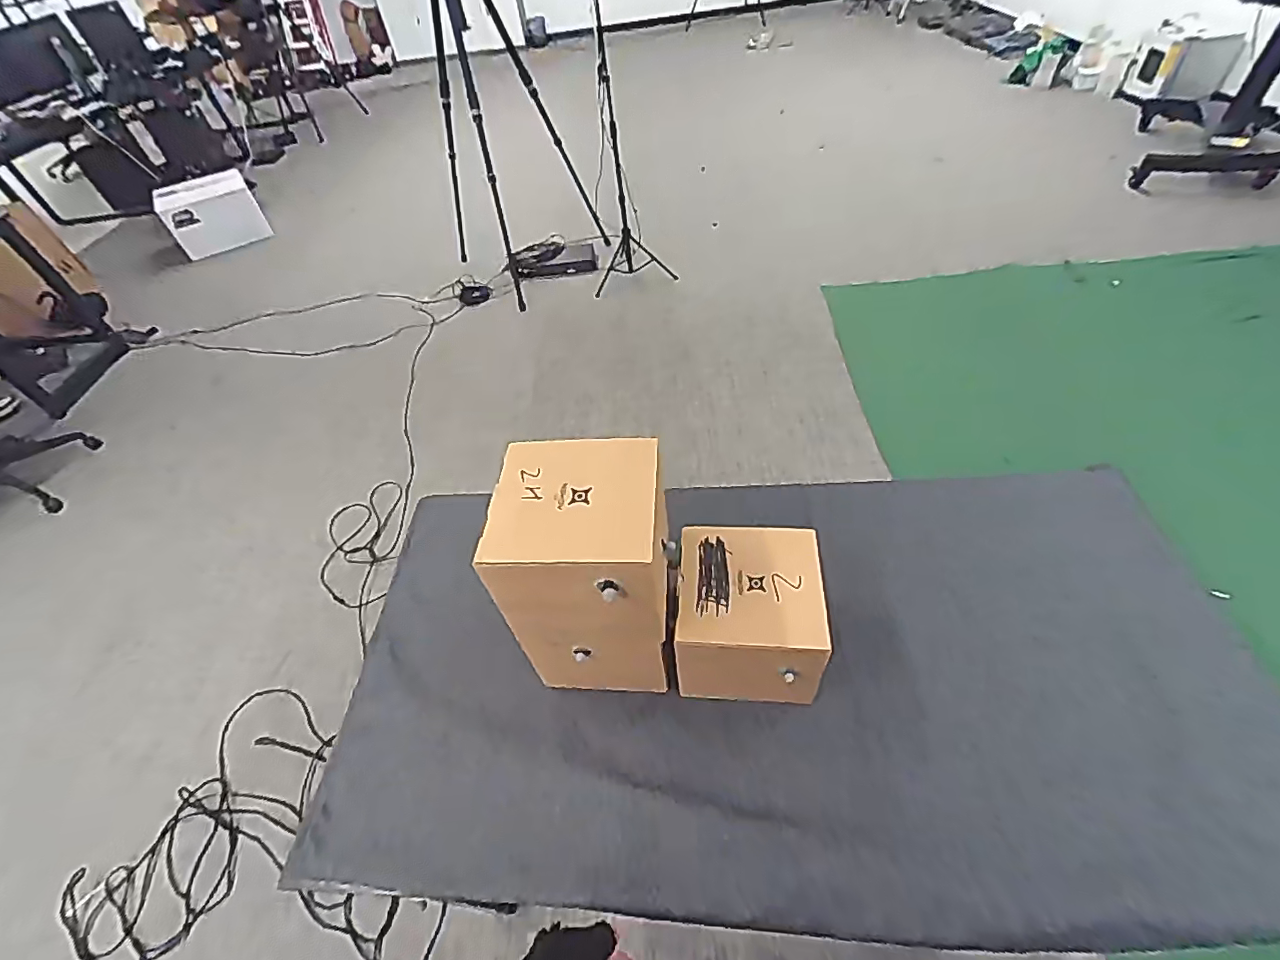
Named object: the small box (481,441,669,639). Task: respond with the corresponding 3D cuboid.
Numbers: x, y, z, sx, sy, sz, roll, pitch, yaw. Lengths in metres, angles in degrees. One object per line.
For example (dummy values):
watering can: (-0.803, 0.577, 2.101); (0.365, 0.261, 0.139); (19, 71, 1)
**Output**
small box: (-0.057, 0.072, 0.626); (0.179, 0.176, 0.168); (-1, 47, 6)
